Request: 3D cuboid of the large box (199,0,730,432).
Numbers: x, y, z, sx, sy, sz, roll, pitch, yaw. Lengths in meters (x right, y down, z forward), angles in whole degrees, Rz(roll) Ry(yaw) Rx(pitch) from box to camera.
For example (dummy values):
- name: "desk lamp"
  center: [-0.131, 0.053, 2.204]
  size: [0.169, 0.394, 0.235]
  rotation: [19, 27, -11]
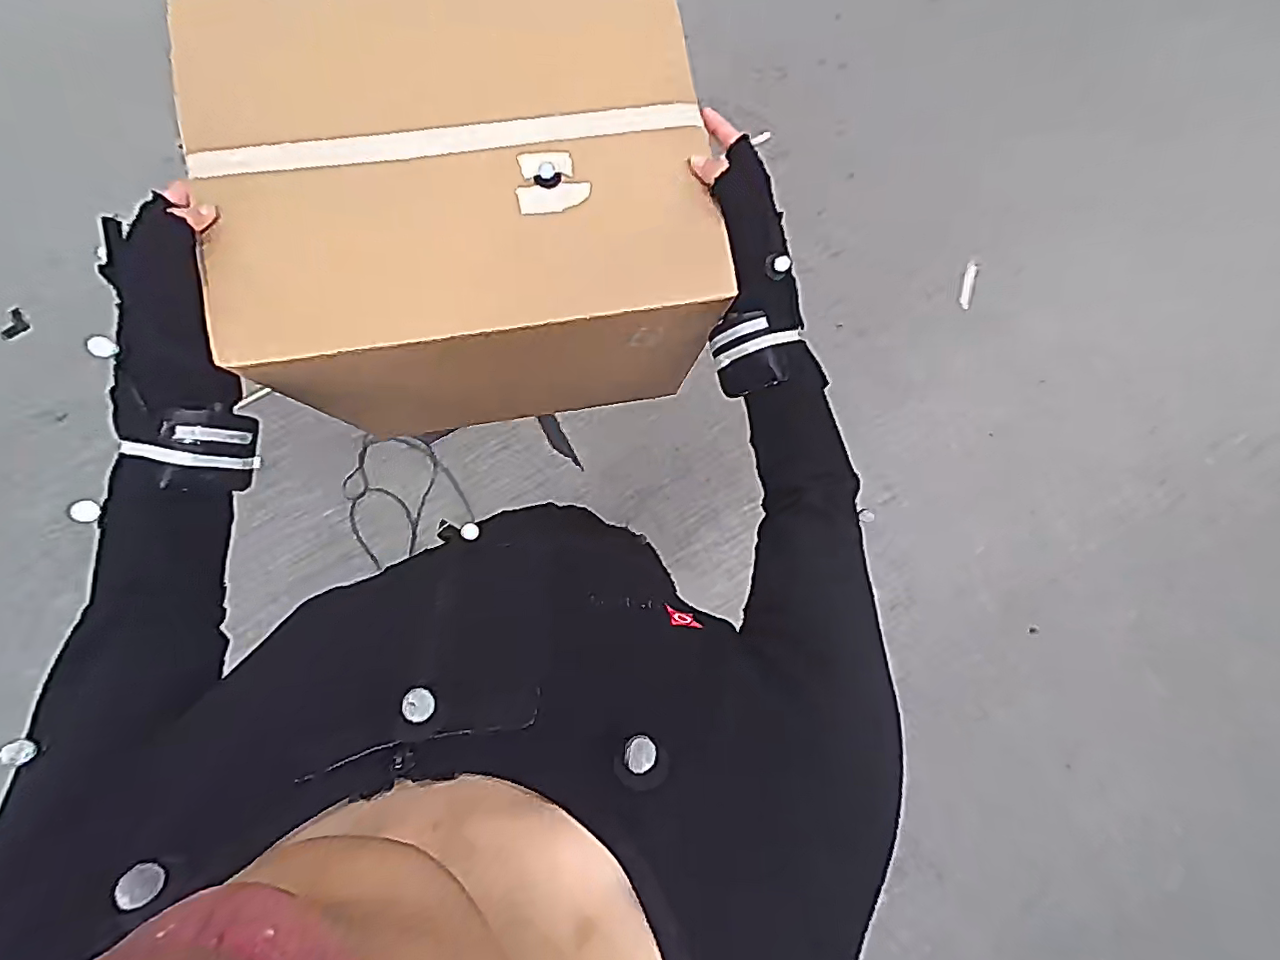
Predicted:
- name: "large box"
  center: [-0.158, -0.262, 0.599]
  size: [0.408, 0.320, 0.320]
  rotation: [-10, 85, -6]
